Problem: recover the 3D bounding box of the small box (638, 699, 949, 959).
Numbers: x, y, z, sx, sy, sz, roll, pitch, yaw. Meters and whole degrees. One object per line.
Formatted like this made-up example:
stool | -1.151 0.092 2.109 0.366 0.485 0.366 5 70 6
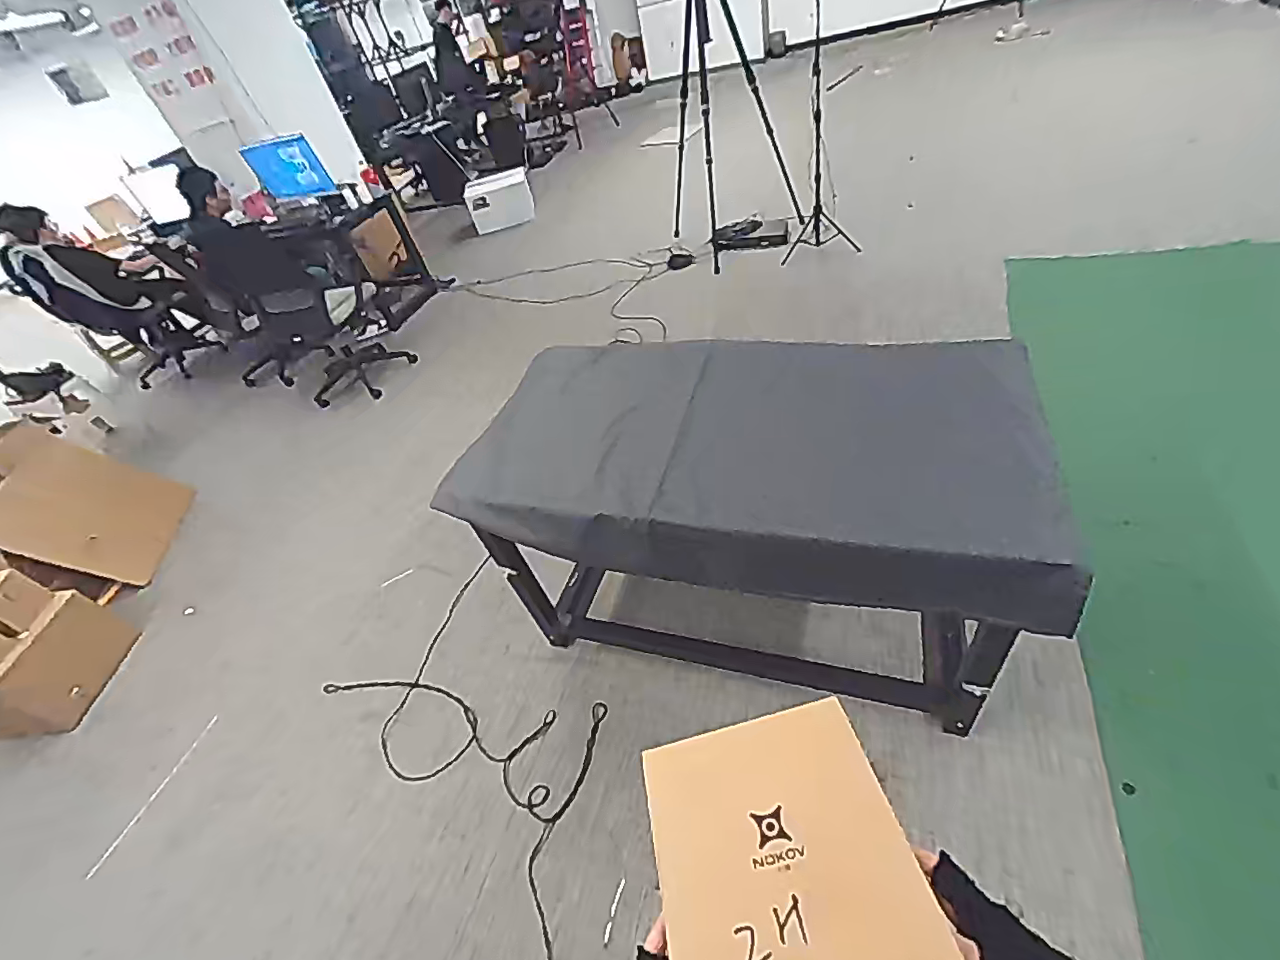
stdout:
small box | 0.105 0.306 0.408 0.168 0.176 0.179 -18 34 4
